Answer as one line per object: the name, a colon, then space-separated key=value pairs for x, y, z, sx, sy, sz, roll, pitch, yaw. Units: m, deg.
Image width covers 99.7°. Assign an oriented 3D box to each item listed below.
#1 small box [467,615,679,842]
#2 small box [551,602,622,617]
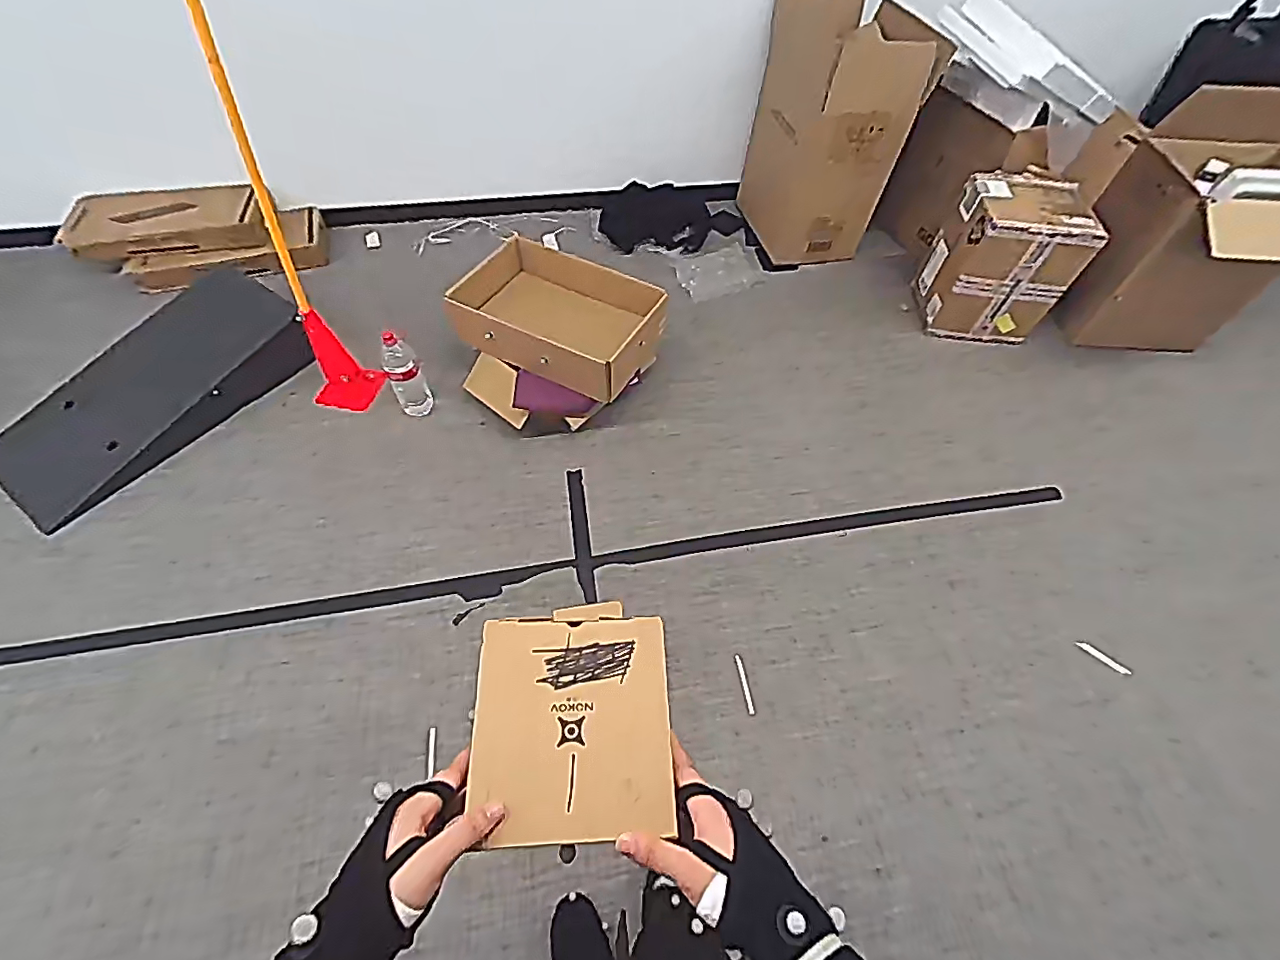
small box: x=-0.060 y=0.242 z=0.525 sx=0.168 sy=0.176 sz=0.179 roll=1 pitch=59 yaw=-5
small box: x=-0.127 y=0.430 z=1.386 sx=0.179 sy=0.176 sz=0.168 roll=-6 pitch=57 yaw=-8
